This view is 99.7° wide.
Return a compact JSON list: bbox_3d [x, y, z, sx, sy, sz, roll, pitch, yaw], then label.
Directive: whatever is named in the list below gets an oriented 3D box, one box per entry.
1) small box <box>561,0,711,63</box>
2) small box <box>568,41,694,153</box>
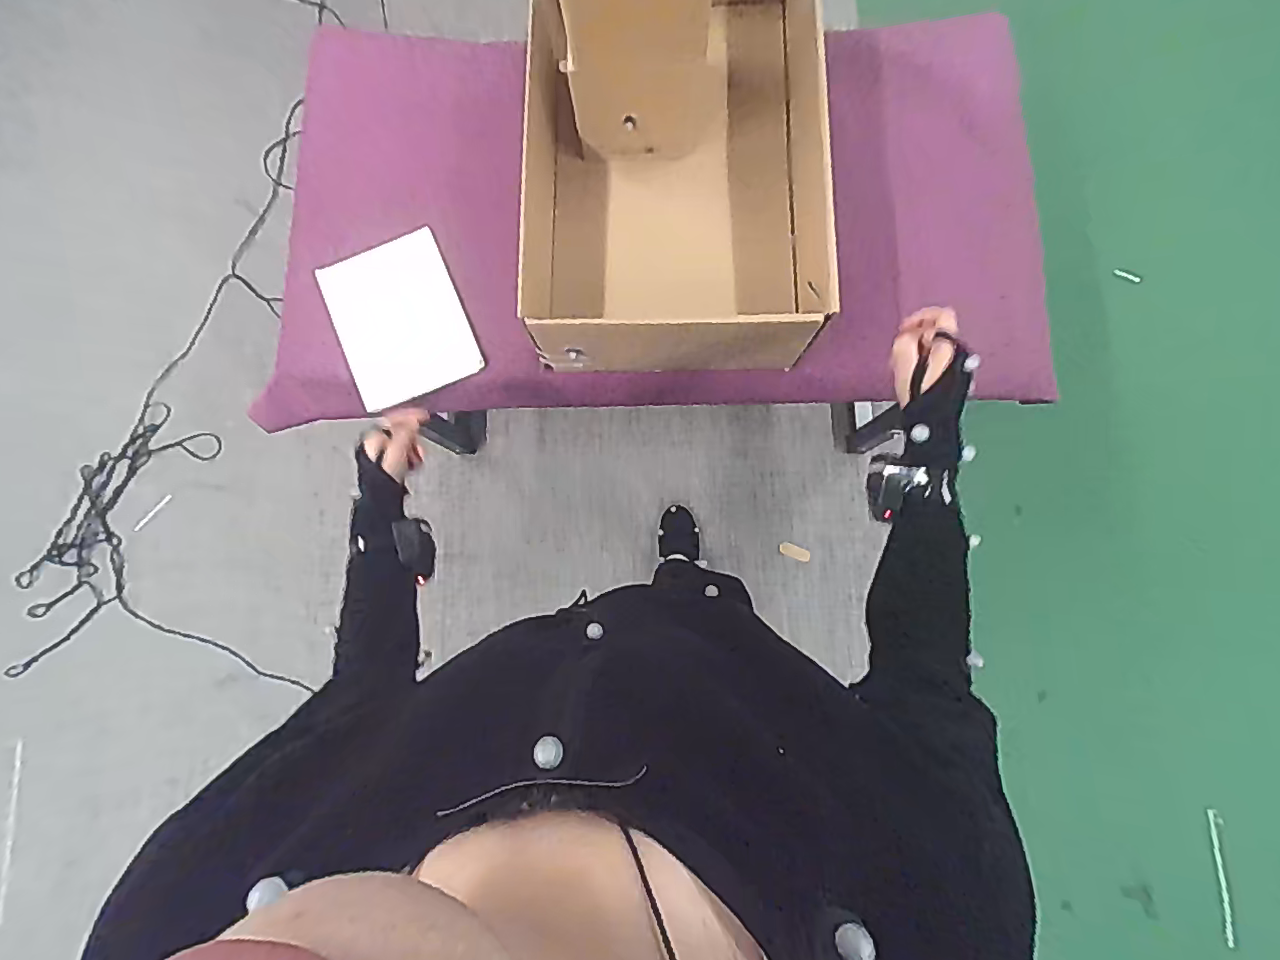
[{"bbox_3d":[-0.007,-0.618,0.615,0.179,0.176,0.168,-2,83,2],"label":"small box"},{"bbox_3d":[-0.007,-0.601,0.776,0.168,0.176,0.179,0,84,2],"label":"small box"}]
